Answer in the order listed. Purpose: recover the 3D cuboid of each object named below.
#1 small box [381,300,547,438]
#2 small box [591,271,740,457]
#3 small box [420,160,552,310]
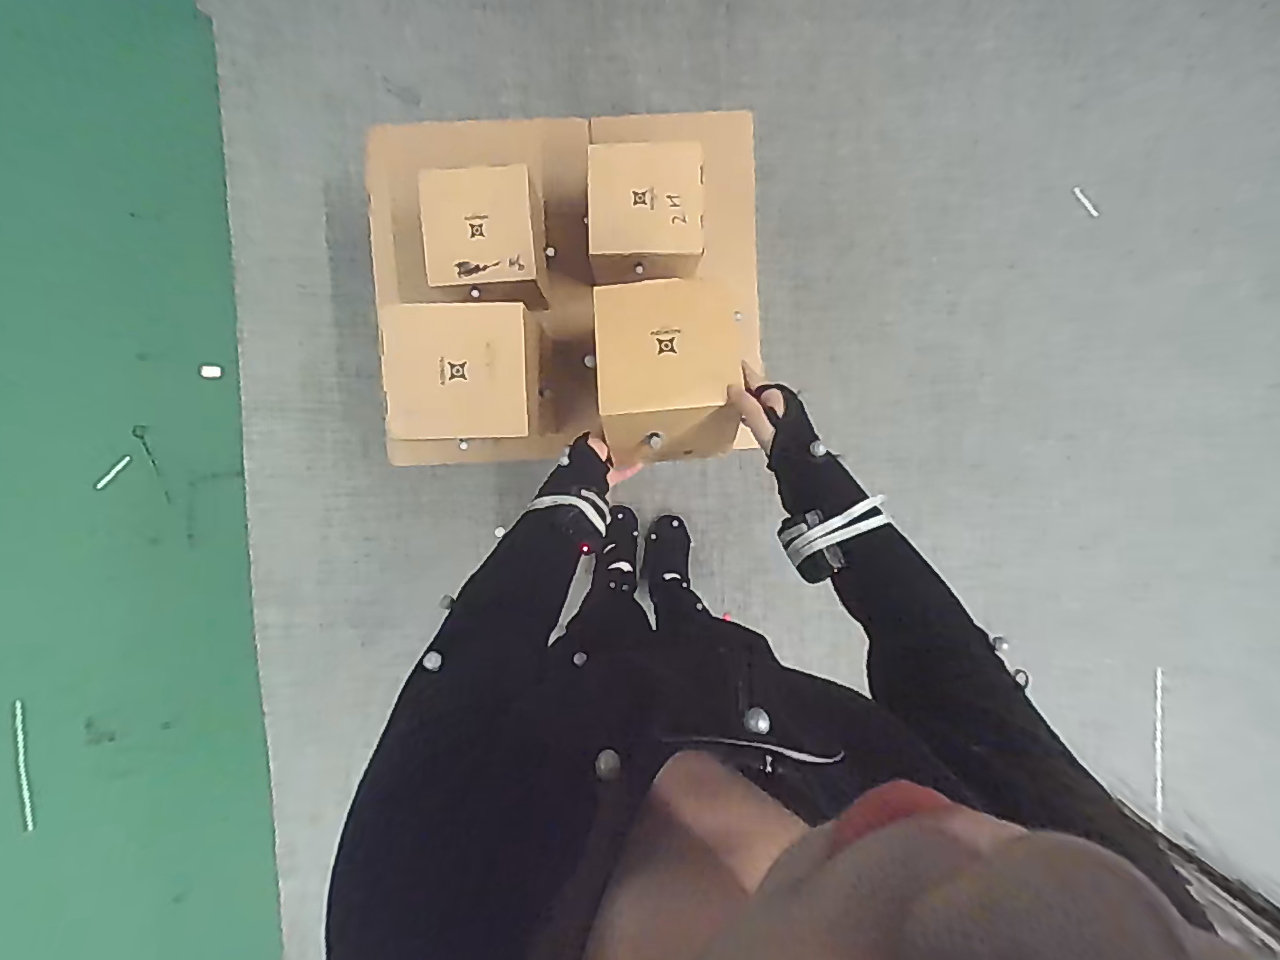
[{"bbox_3d":[-0.229,-0.142,0.740,0.179,0.176,0.168,-1,94,-1],"label":"small box"},{"bbox_3d":[0.032,-0.136,0.698,0.168,0.176,0.179,-5,70,2],"label":"small box"},{"bbox_3d":[-0.243,-0.390,0.889,0.168,0.176,0.179,-4,92,1],"label":"small box"}]
